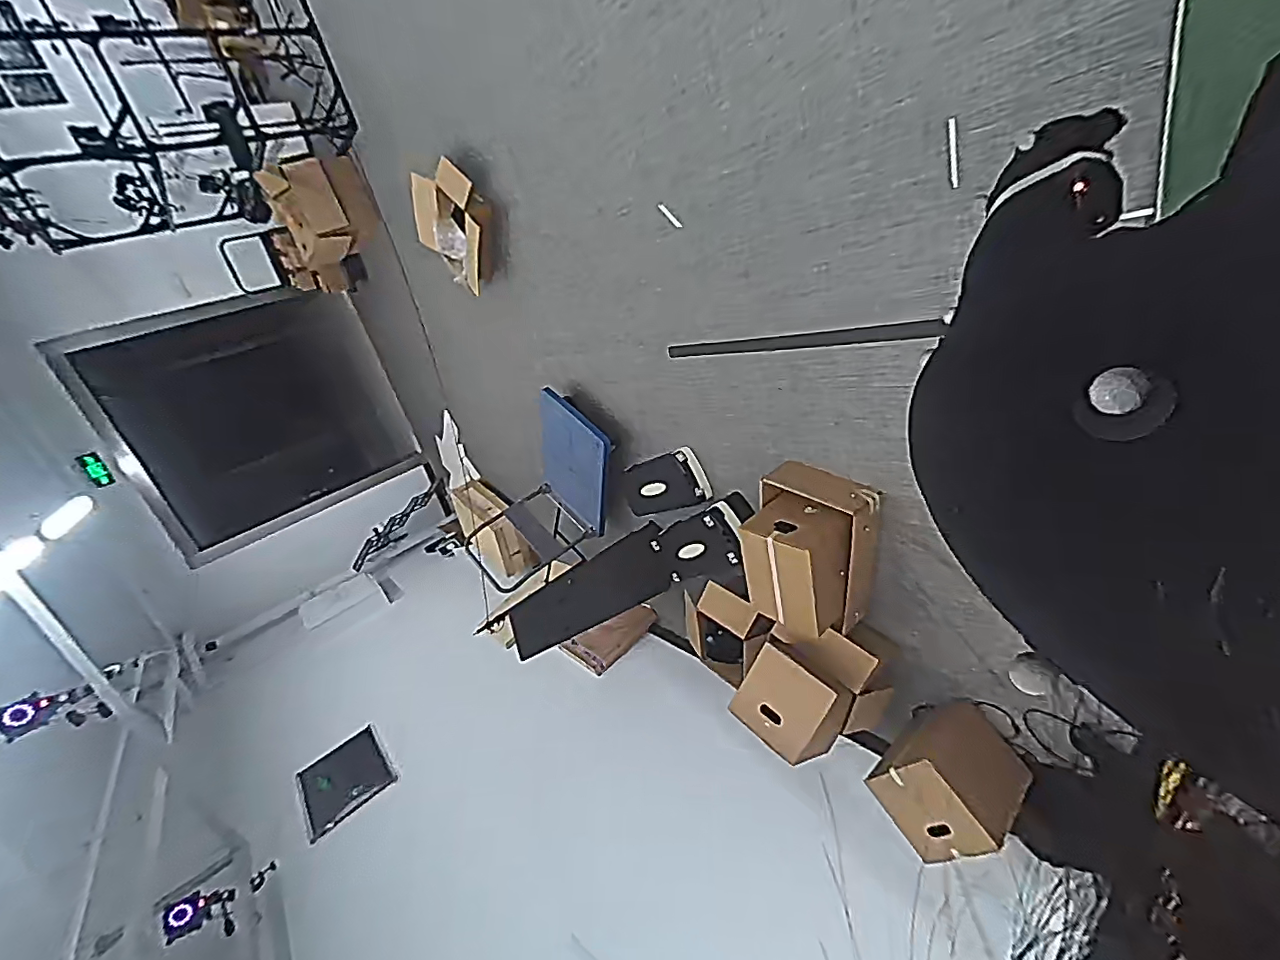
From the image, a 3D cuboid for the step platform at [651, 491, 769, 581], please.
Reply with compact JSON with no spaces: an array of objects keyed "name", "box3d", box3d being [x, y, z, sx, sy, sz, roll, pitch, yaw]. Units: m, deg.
[{"name":"step platform","box3d":[0.319,0.298,2.688,0.286,0.204,0.684,57,148,3]}]
